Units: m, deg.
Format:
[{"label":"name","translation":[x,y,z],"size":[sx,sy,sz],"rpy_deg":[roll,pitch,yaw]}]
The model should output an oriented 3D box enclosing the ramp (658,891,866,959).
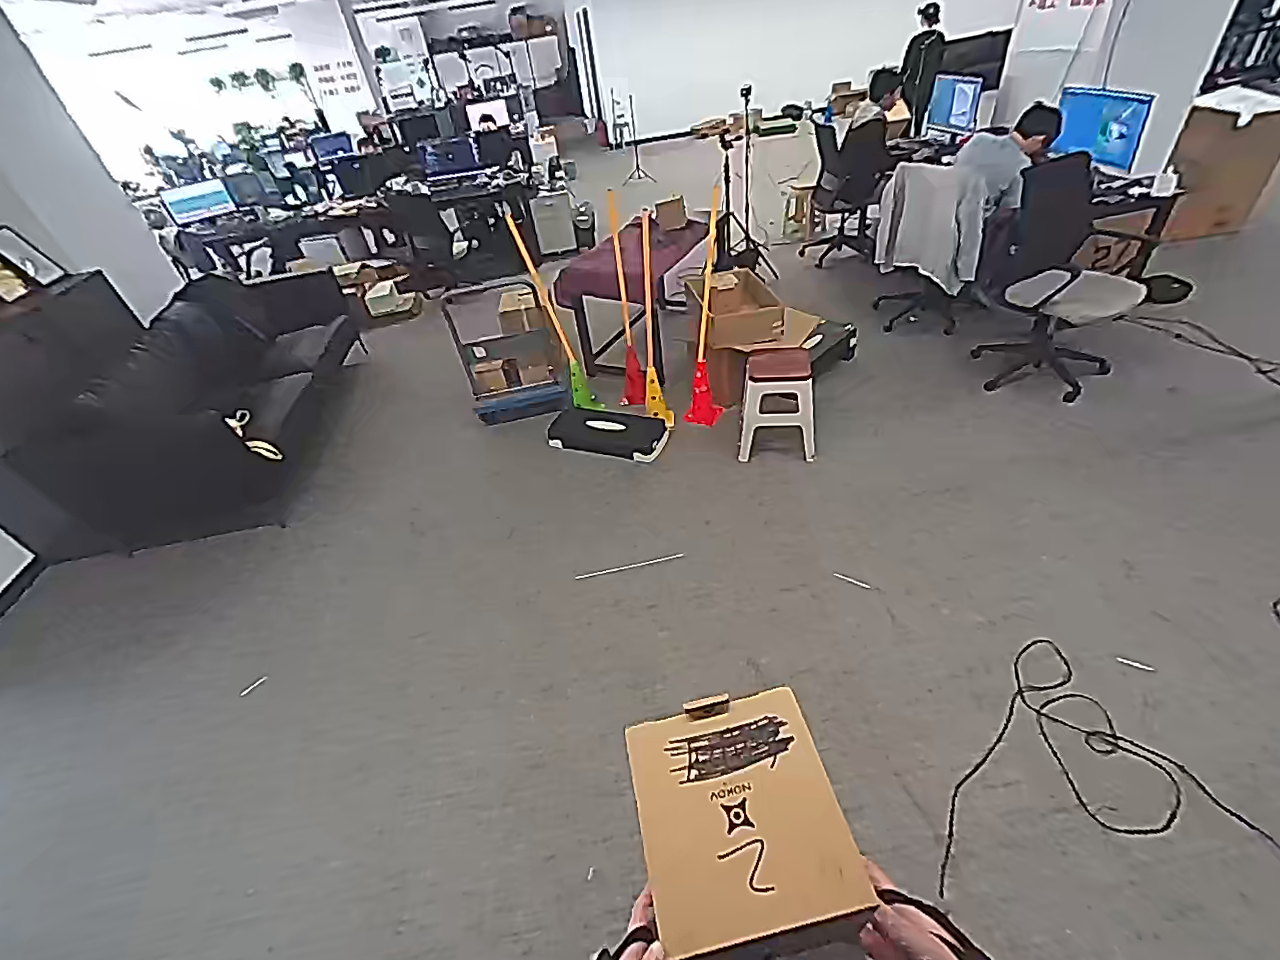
[{"label":"ramp","translation":[0.346,1.351,0.959],"size":[0.509,0.206,0.991],"rpy_deg":[-14,39,-3]}]
